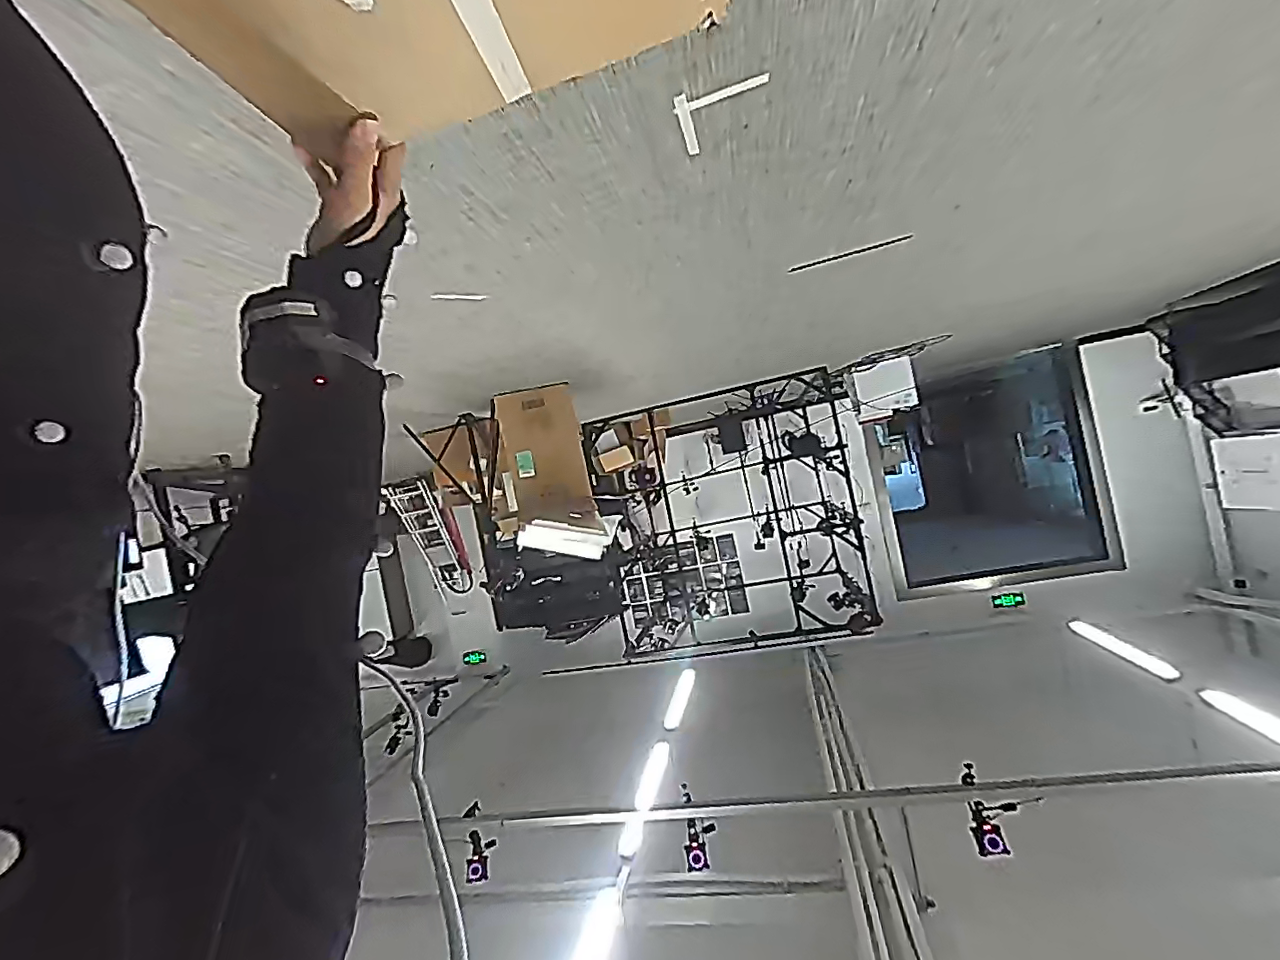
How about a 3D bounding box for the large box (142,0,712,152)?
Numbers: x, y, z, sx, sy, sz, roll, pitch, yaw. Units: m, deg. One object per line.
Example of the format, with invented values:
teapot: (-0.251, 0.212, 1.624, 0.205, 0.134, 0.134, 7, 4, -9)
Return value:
large box: (-0.155, -0.423, 0.194, 0.320, 0.320, 0.408, -16, -179, 6)
